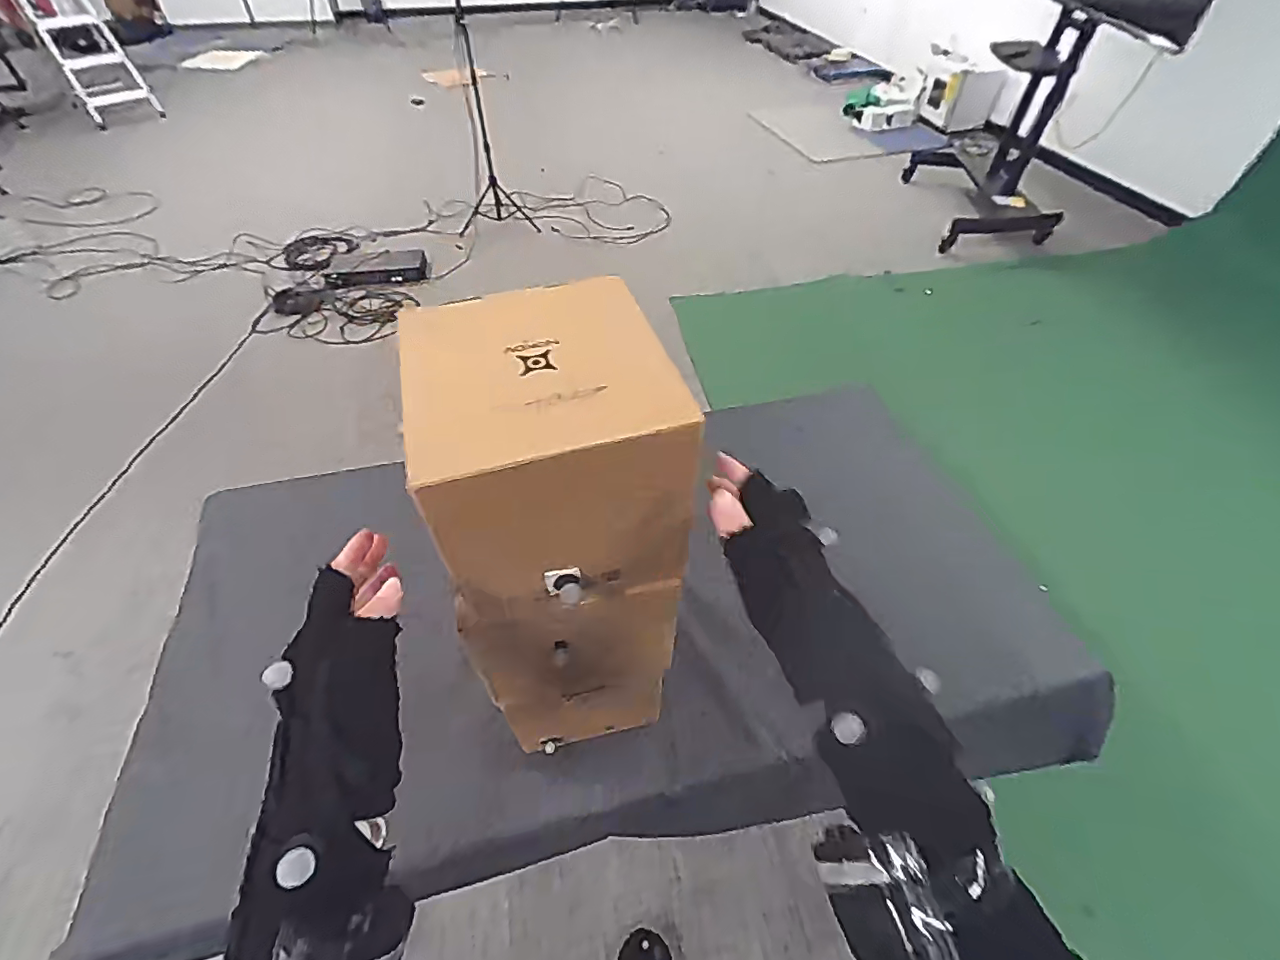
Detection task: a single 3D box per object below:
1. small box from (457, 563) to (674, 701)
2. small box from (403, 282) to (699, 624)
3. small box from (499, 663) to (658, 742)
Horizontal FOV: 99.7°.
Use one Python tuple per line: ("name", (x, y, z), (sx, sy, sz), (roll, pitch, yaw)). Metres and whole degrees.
("small box", (-0.072, 0.093, 0.532), (0.179, 0.176, 0.168), (-11, 47, -11))
("small box", (-0.068, -0.022, 0.413), (0.168, 0.176, 0.179), (-15, 50, -12))
("small box", (-0.076, 0.197, 0.655), (0.168, 0.176, 0.179), (-10, 48, -9))
